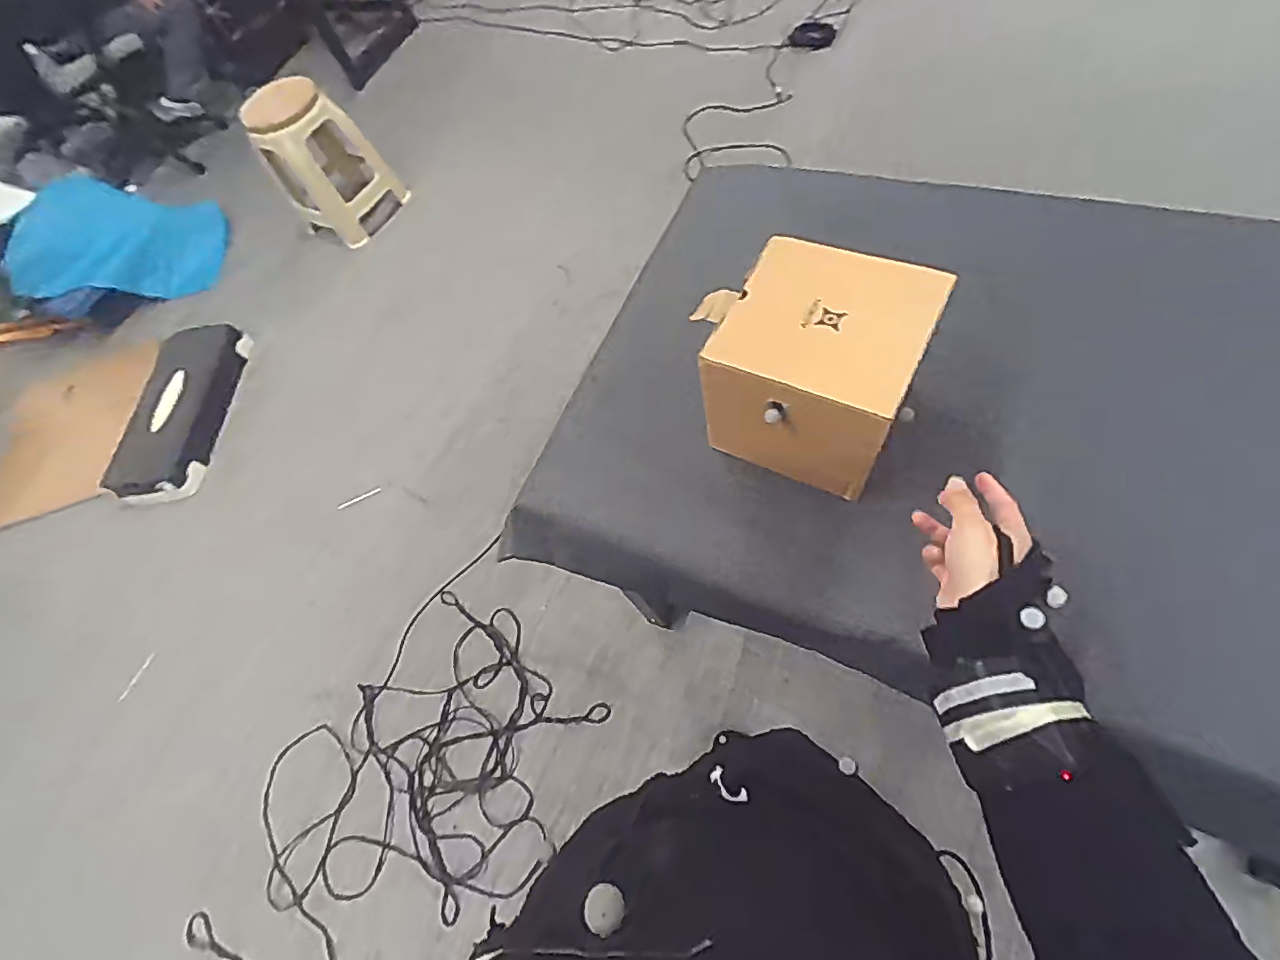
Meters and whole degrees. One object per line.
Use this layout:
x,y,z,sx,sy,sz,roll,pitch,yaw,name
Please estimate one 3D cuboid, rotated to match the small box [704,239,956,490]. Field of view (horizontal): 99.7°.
0.185,-0.110,0.561,0.179,0.176,0.168,24,70,21,small box
